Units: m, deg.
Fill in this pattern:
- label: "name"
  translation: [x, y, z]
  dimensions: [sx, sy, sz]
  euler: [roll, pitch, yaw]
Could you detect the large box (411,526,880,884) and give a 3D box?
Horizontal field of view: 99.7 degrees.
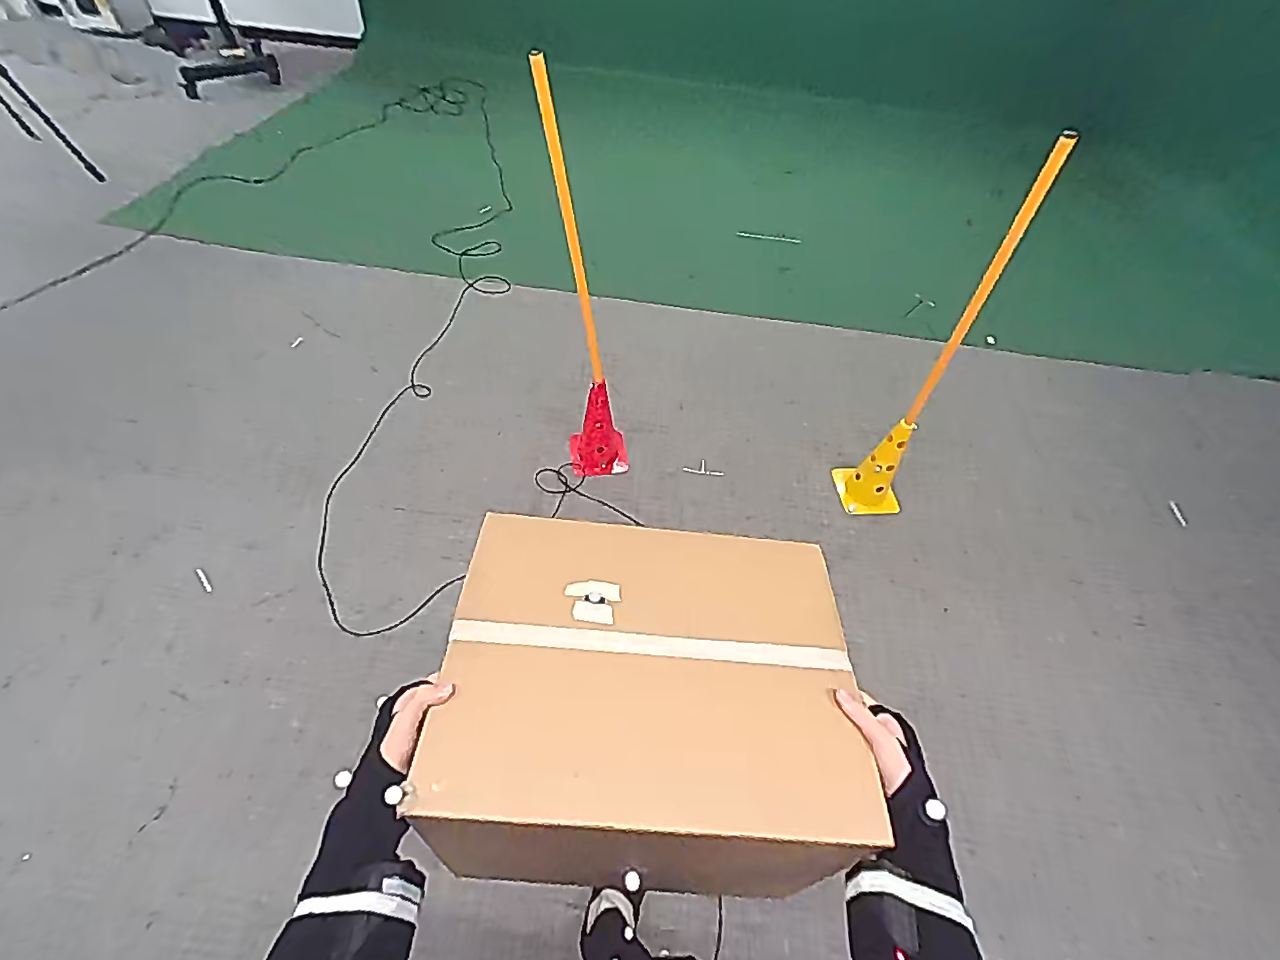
- label: "large box"
  translation: [0.001, 0.281, 0.660]
  dimensions: [0.408, 0.320, 0.320]
  euler: [5, 45, -3]
